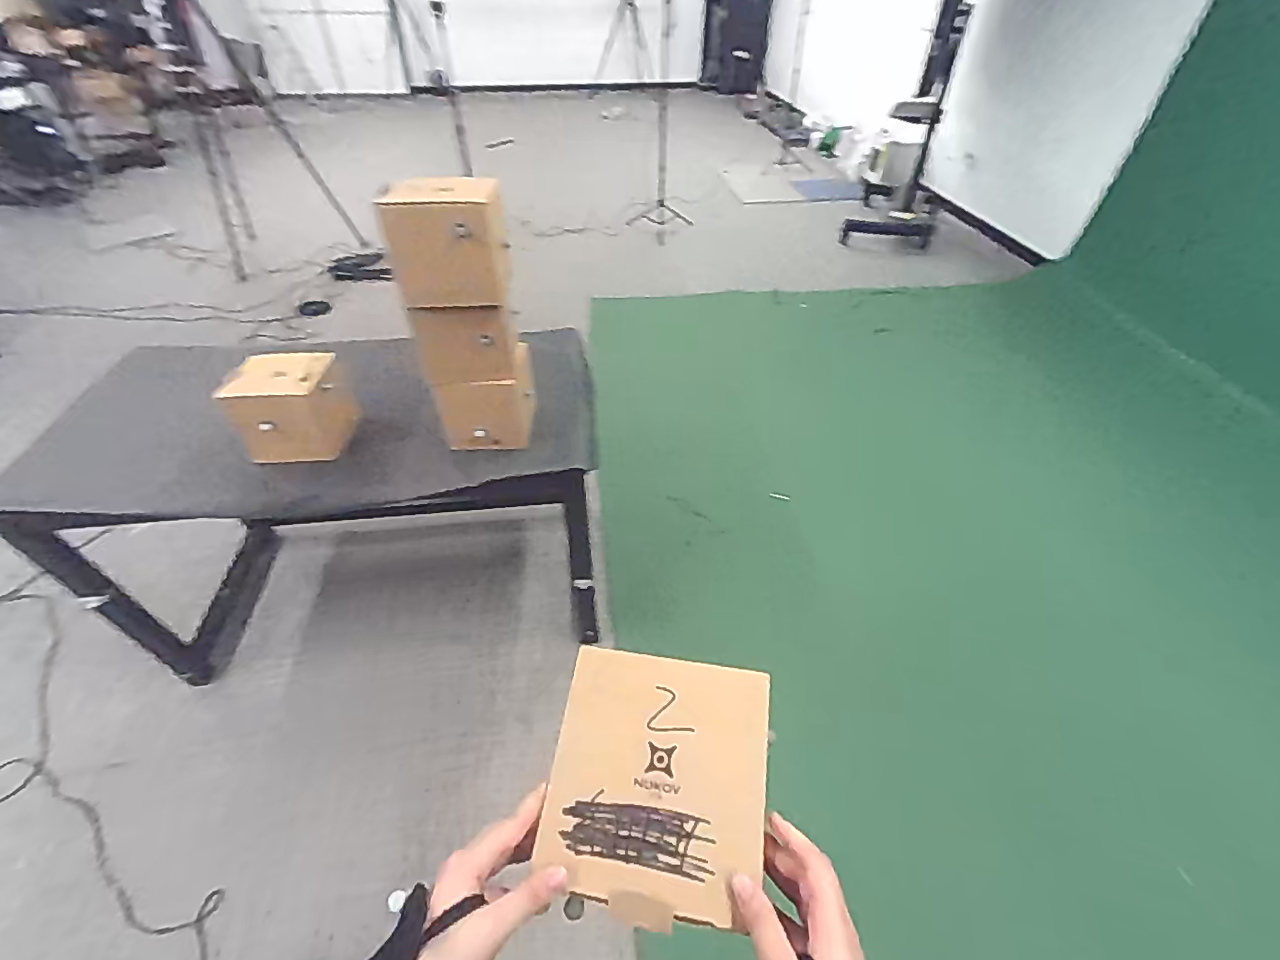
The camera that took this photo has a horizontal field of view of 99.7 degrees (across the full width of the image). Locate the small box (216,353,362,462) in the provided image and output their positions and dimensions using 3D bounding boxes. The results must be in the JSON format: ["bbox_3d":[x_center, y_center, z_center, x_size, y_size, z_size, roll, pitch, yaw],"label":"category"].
[{"bbox_3d":[-0.729,-0.151,1.146,0.179,0.176,0.168,-3,42,-2],"label":"small box"}]

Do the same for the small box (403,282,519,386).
[{"bbox_3d":[-0.339,-0.302,1.065,0.179,0.176,0.168,-7,40,-5],"label":"small box"}]

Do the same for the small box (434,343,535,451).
[{"bbox_3d":[-0.327,-0.182,1.173,0.168,0.176,0.179,-1,42,0],"label":"small box"}]

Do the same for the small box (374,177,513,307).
[{"bbox_3d":[-0.325,-0.413,0.941,0.179,0.176,0.168,-3,40,-2],"label":"small box"}]
